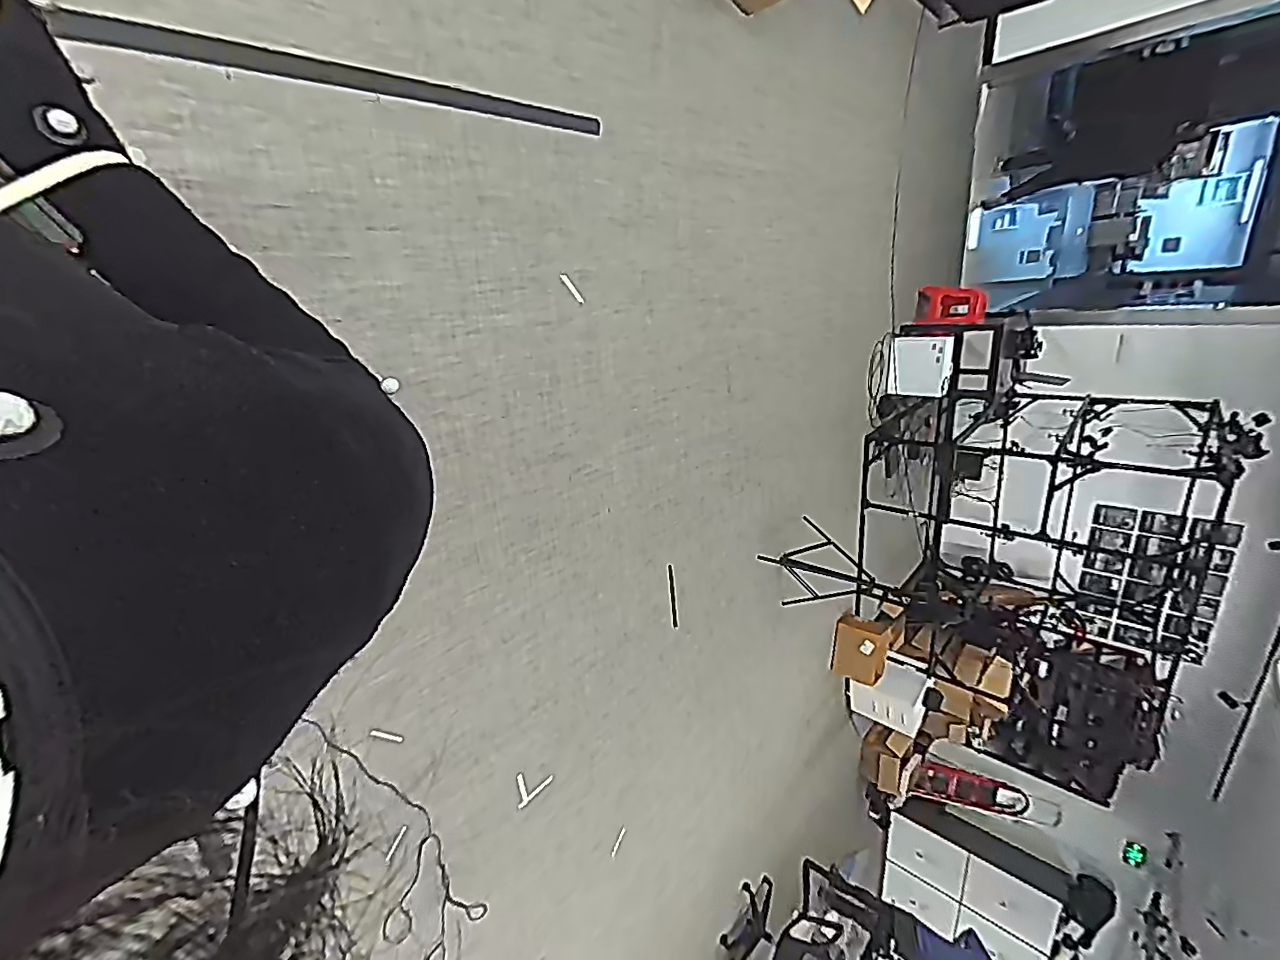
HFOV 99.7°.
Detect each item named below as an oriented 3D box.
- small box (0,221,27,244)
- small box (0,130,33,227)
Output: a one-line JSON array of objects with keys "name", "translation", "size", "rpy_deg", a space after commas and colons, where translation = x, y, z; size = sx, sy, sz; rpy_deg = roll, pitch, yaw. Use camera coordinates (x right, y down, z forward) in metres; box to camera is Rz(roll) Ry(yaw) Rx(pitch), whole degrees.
[{"name": "small box", "translation": [-0.996, -0.429, 0.738], "size": [0.168, 0.176, 0.179], "rpy_deg": [-27, 117, -42]}, {"name": "small box", "translation": [-0.870, -0.405, 0.633], "size": [0.168, 0.176, 0.179], "rpy_deg": [-27, 119, -42]}]
